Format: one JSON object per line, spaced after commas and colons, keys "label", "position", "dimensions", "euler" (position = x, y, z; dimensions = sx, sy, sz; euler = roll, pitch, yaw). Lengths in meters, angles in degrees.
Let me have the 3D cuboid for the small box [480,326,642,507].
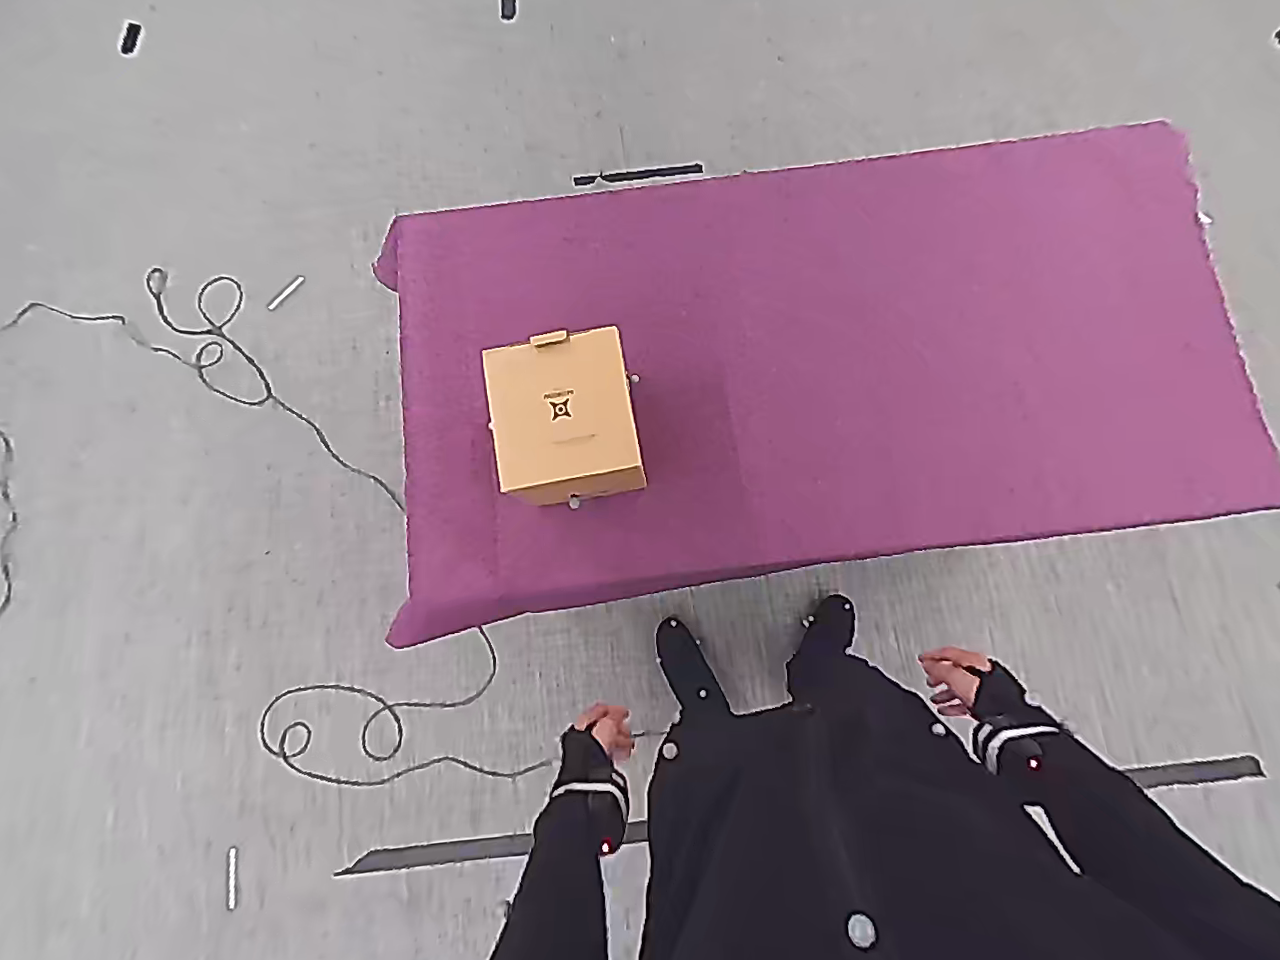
{"label": "small box", "position": [-0.092, -0.071, 0.698], "dimensions": [0.168, 0.176, 0.179], "euler": [-10, 80, 1]}
